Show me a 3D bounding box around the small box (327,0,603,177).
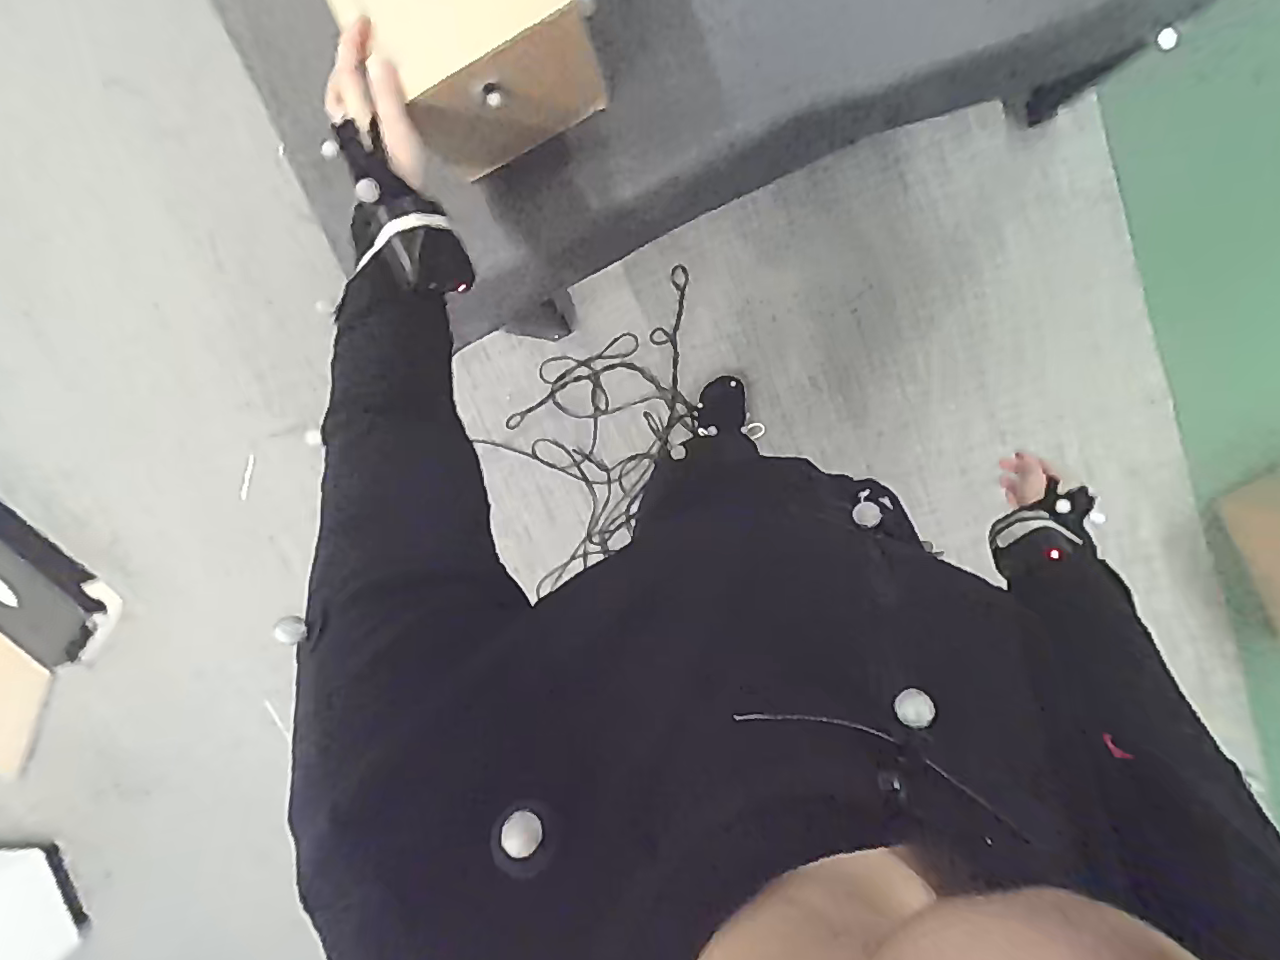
[{"bbox_3d":[-0.152,-0.409,0.482,0.179,0.176,0.168,-23,99,9],"label":"small box"}]
